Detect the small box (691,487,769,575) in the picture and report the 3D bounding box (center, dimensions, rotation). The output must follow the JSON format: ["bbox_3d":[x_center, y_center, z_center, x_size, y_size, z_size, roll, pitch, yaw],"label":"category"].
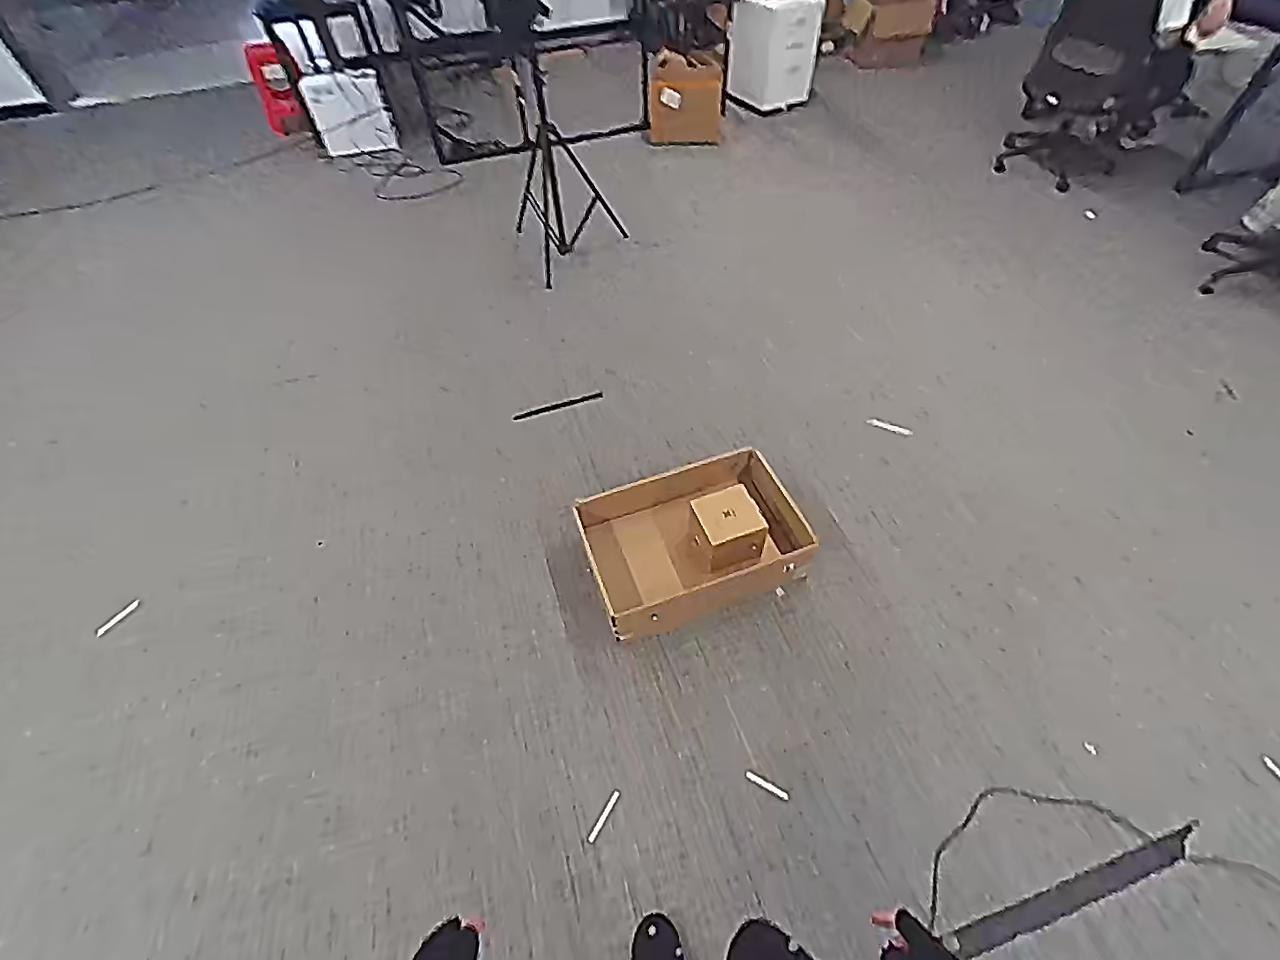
[{"bbox_3d":[0.259,0.155,1.608,0.179,0.176,0.168,-19,53,-9],"label":"small box"}]
